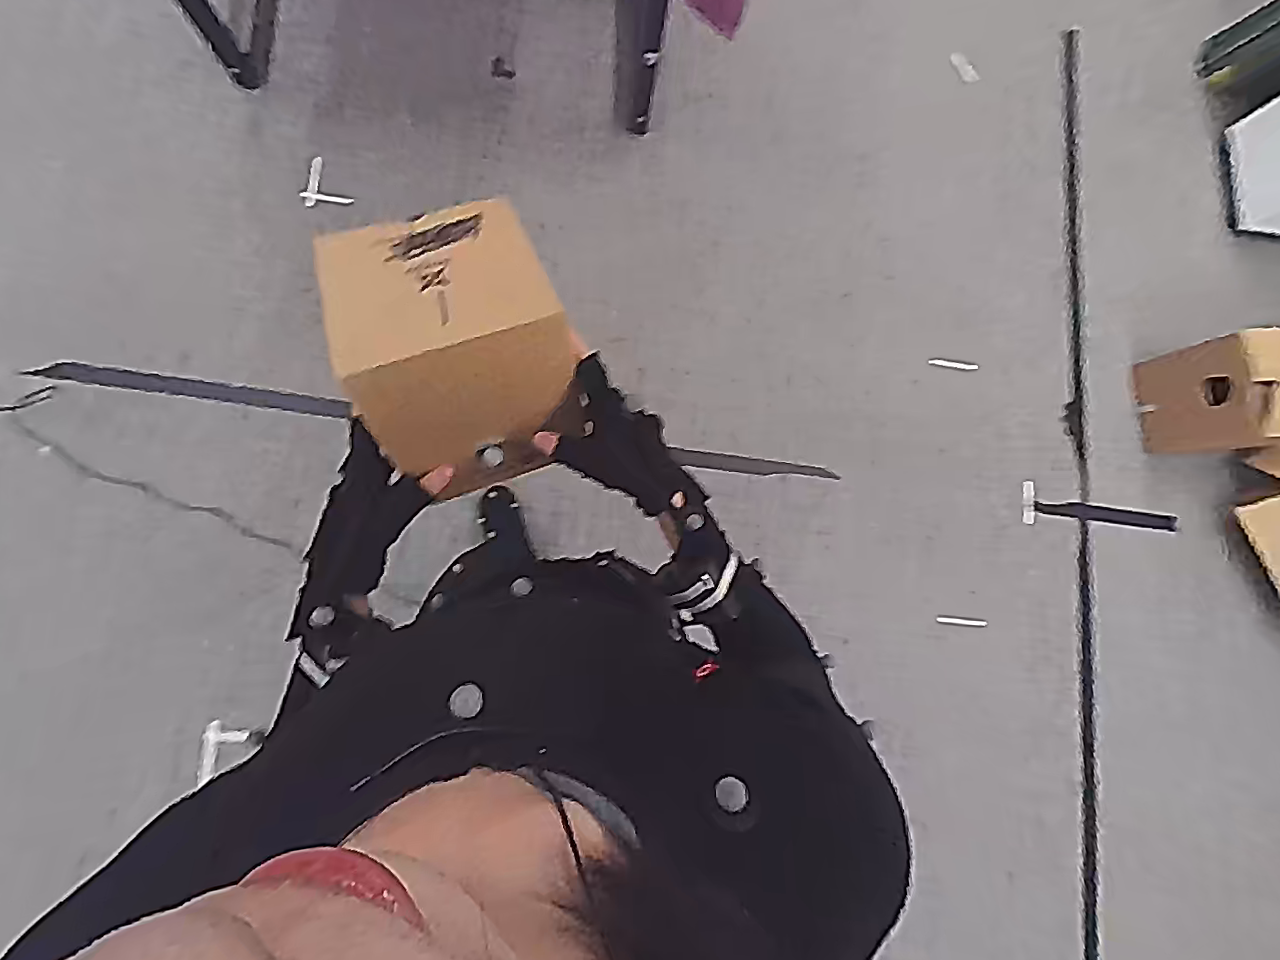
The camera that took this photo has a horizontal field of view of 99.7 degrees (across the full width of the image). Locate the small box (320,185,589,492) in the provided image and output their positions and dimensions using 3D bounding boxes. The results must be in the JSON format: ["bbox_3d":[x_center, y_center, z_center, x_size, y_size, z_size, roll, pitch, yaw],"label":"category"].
[{"bbox_3d":[-0.151,-0.120,0.470,0.168,0.176,0.179,-18,57,-11],"label":"small box"}]
